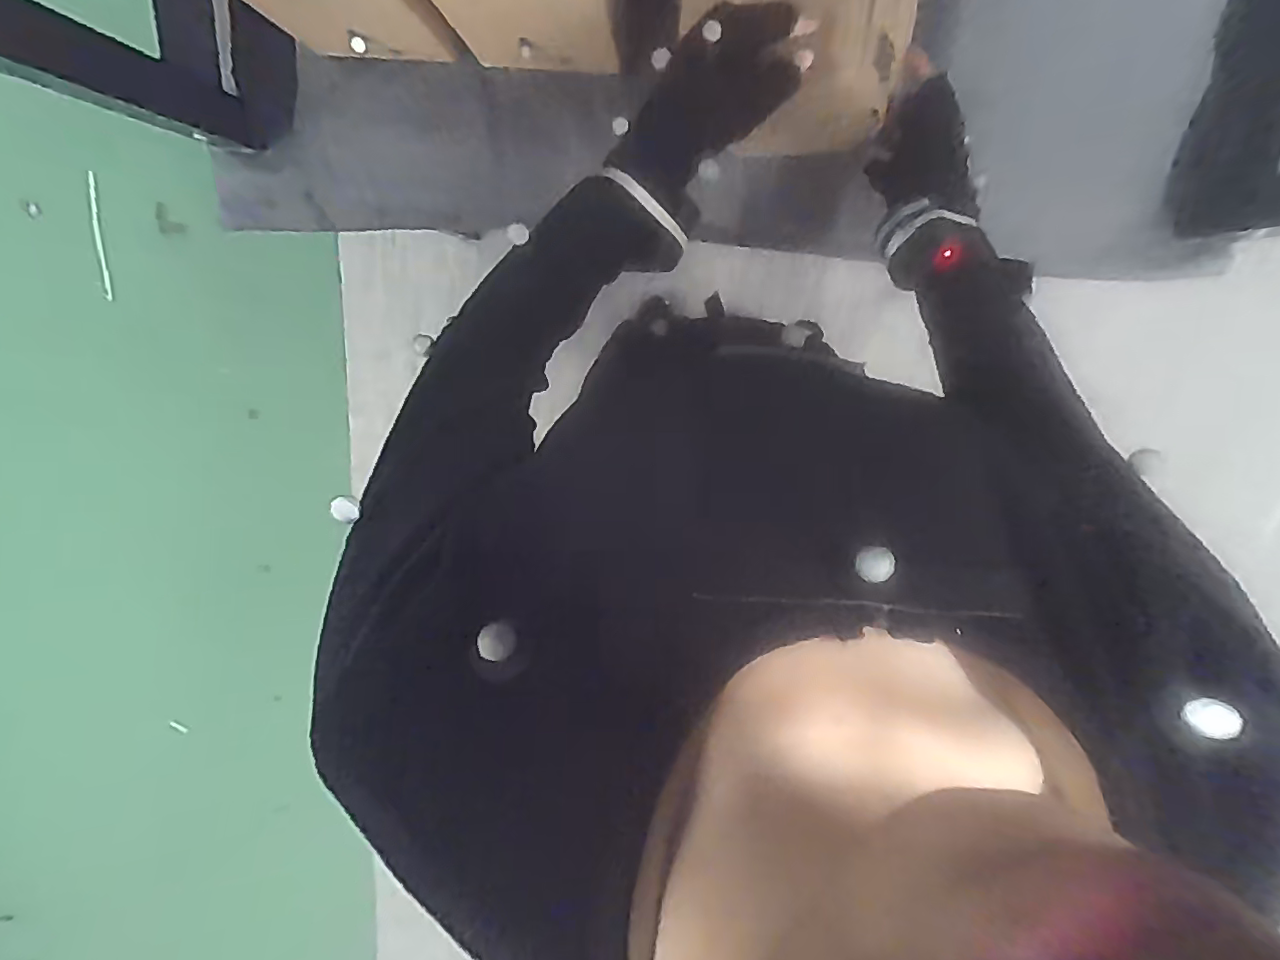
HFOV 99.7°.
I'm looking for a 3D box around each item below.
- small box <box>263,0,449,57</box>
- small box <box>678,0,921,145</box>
[{"bbox_3d":[-0.295,-0.547,0.513,0.168,0.176,0.179,5,107,3],"label":"small box"},{"bbox_3d":[0.146,-0.424,0.487,0.176,0.168,0.179,13,109,29],"label":"small box"}]
